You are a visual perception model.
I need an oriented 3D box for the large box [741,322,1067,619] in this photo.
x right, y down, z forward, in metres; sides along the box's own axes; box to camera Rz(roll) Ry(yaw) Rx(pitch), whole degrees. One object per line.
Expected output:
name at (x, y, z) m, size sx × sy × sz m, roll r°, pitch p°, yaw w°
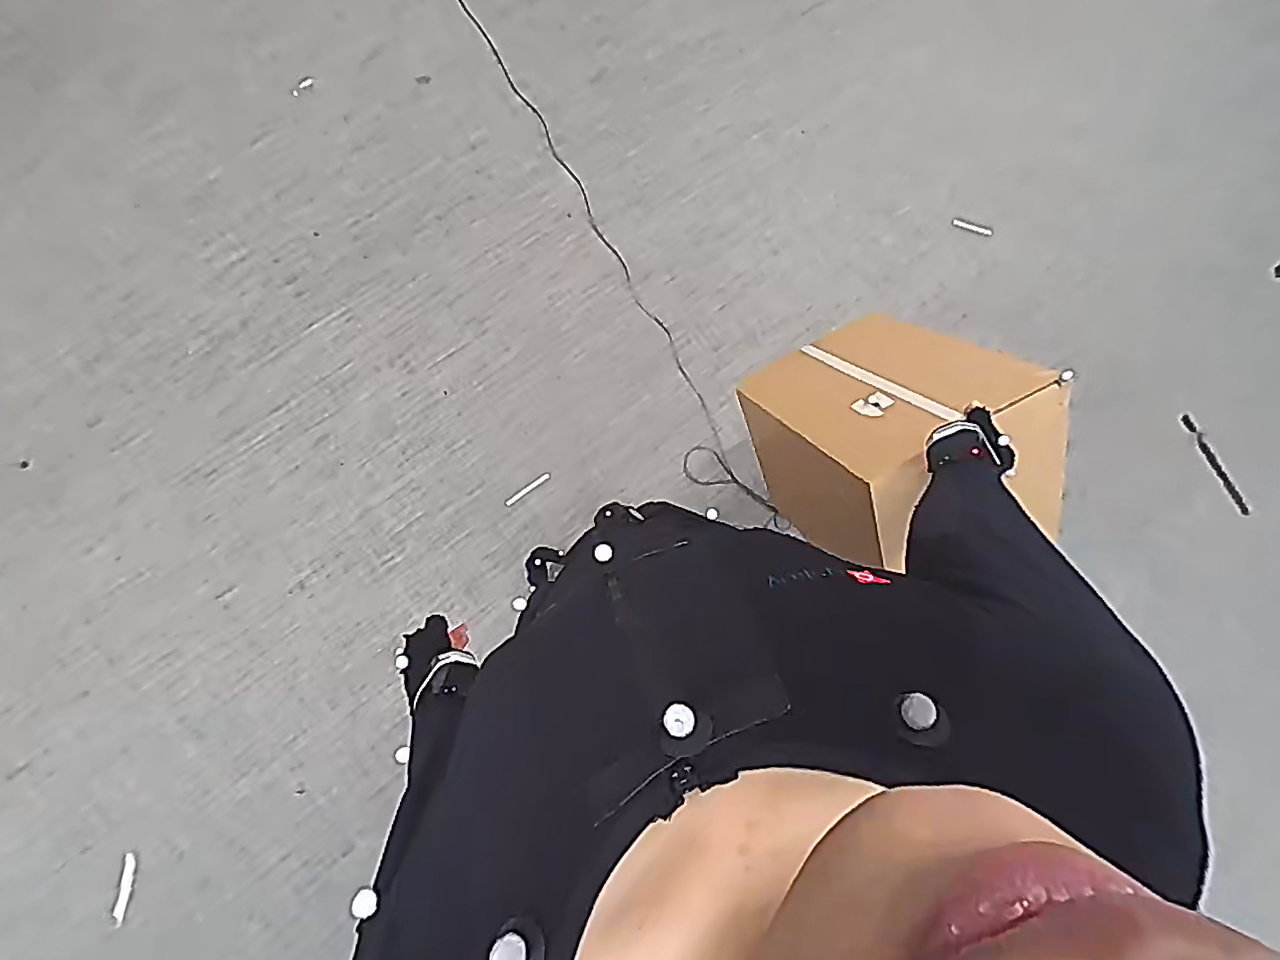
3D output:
large box at (0.438, -0.039, 0.974) m, size 0.320 × 0.408 × 0.320 m, roll -28°, pitch 124°, yaw -3°
